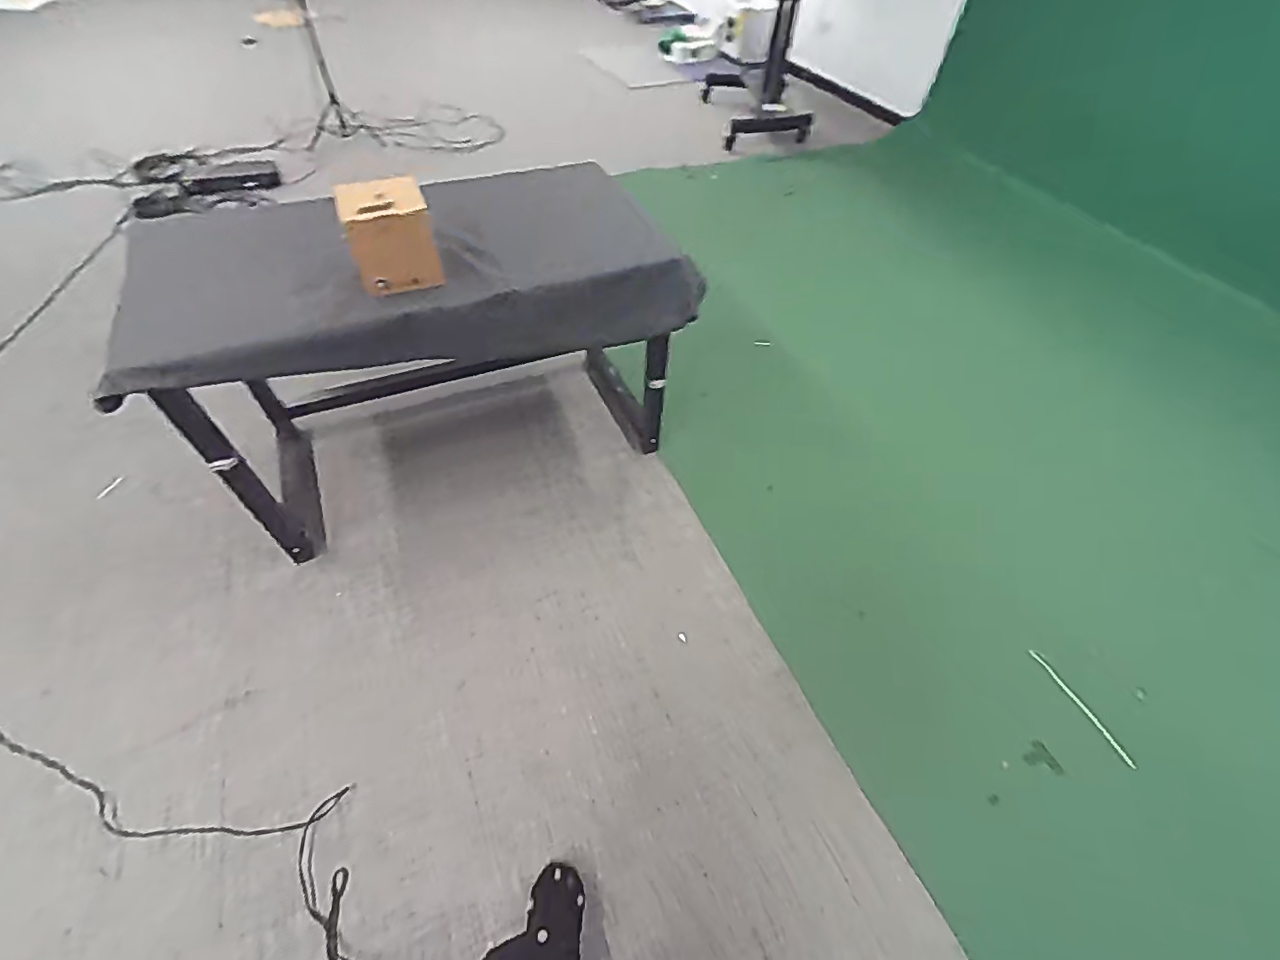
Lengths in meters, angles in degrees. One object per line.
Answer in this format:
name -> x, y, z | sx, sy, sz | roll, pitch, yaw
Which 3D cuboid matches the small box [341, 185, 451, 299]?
small box -> -0.534, -0.519, 1.197 | 0.168, 0.176, 0.179 | -20, 55, -18
